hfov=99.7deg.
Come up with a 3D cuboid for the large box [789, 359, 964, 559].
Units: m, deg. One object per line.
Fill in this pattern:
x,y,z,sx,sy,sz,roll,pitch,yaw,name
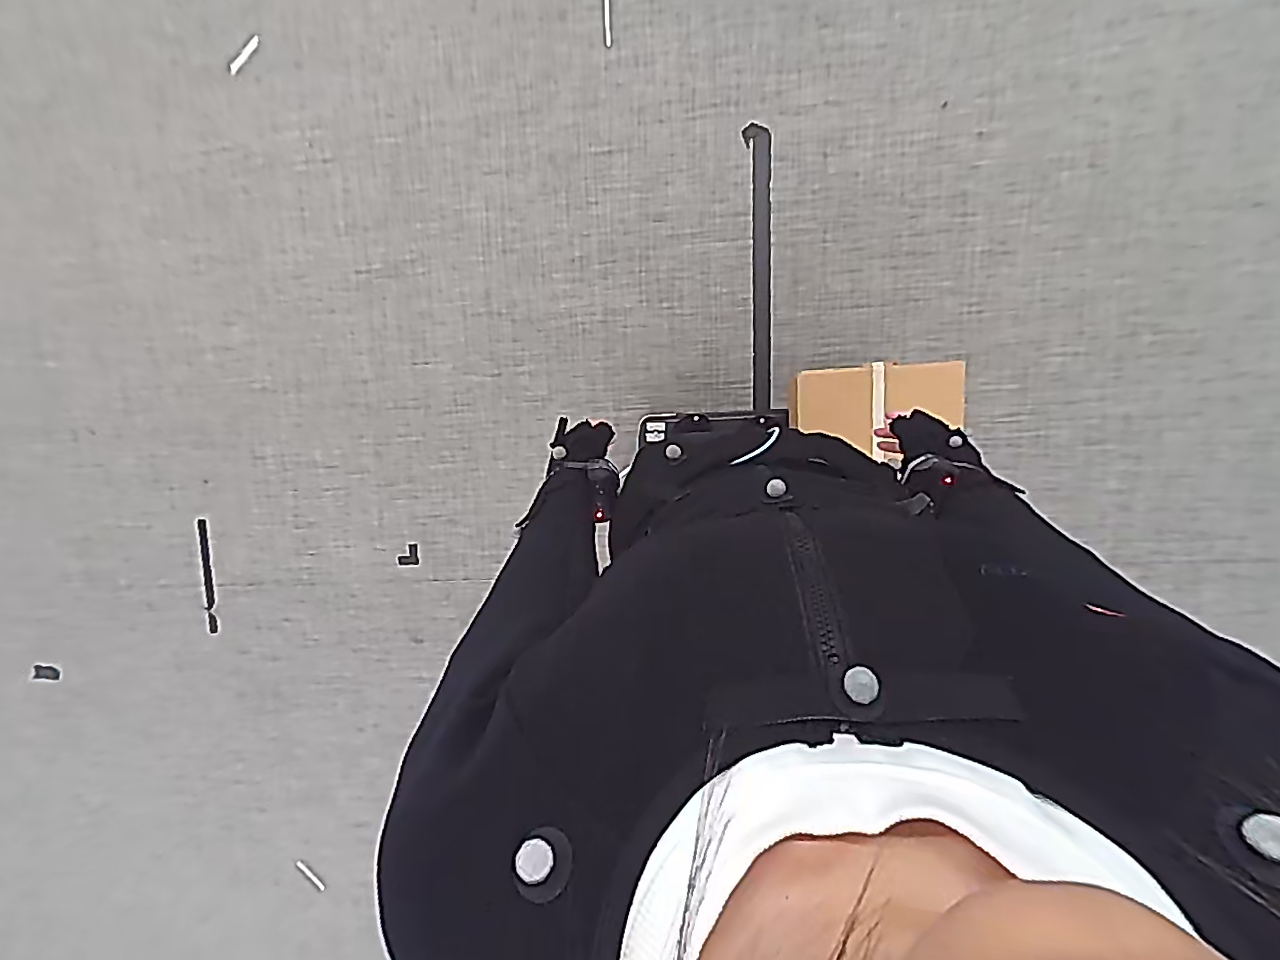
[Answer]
0.518,-0.056,1.243,0.320,0.320,0.408,-1,99,13,large box
